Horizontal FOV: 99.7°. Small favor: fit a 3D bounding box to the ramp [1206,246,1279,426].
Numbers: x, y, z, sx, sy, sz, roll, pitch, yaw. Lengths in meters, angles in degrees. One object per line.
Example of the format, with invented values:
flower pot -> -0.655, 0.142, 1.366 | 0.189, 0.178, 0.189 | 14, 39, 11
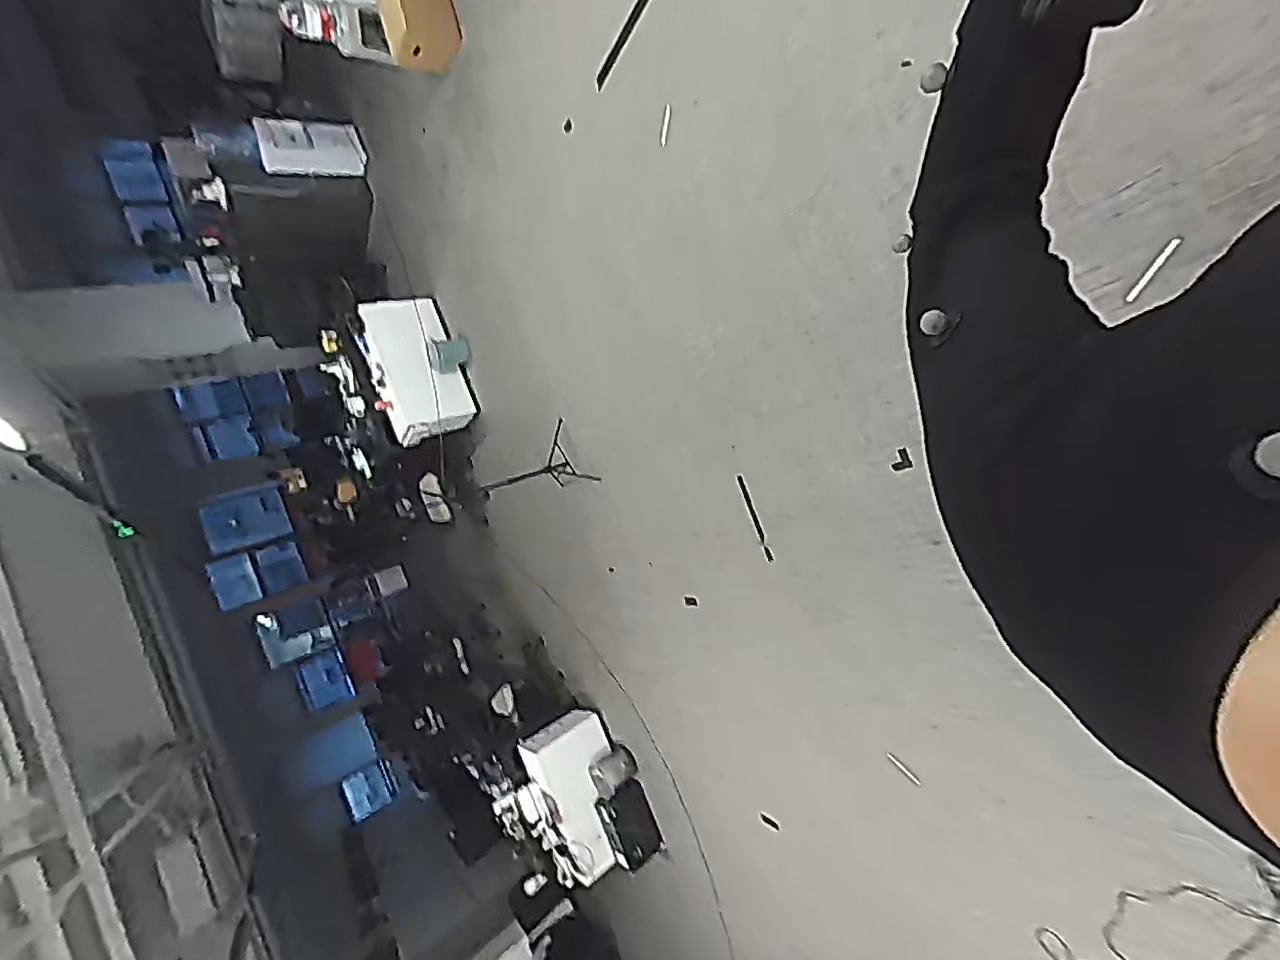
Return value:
ramp -> 1.449, -0.020, 0.853 | 0.509, 0.206, 0.991 | -29, 84, 54
